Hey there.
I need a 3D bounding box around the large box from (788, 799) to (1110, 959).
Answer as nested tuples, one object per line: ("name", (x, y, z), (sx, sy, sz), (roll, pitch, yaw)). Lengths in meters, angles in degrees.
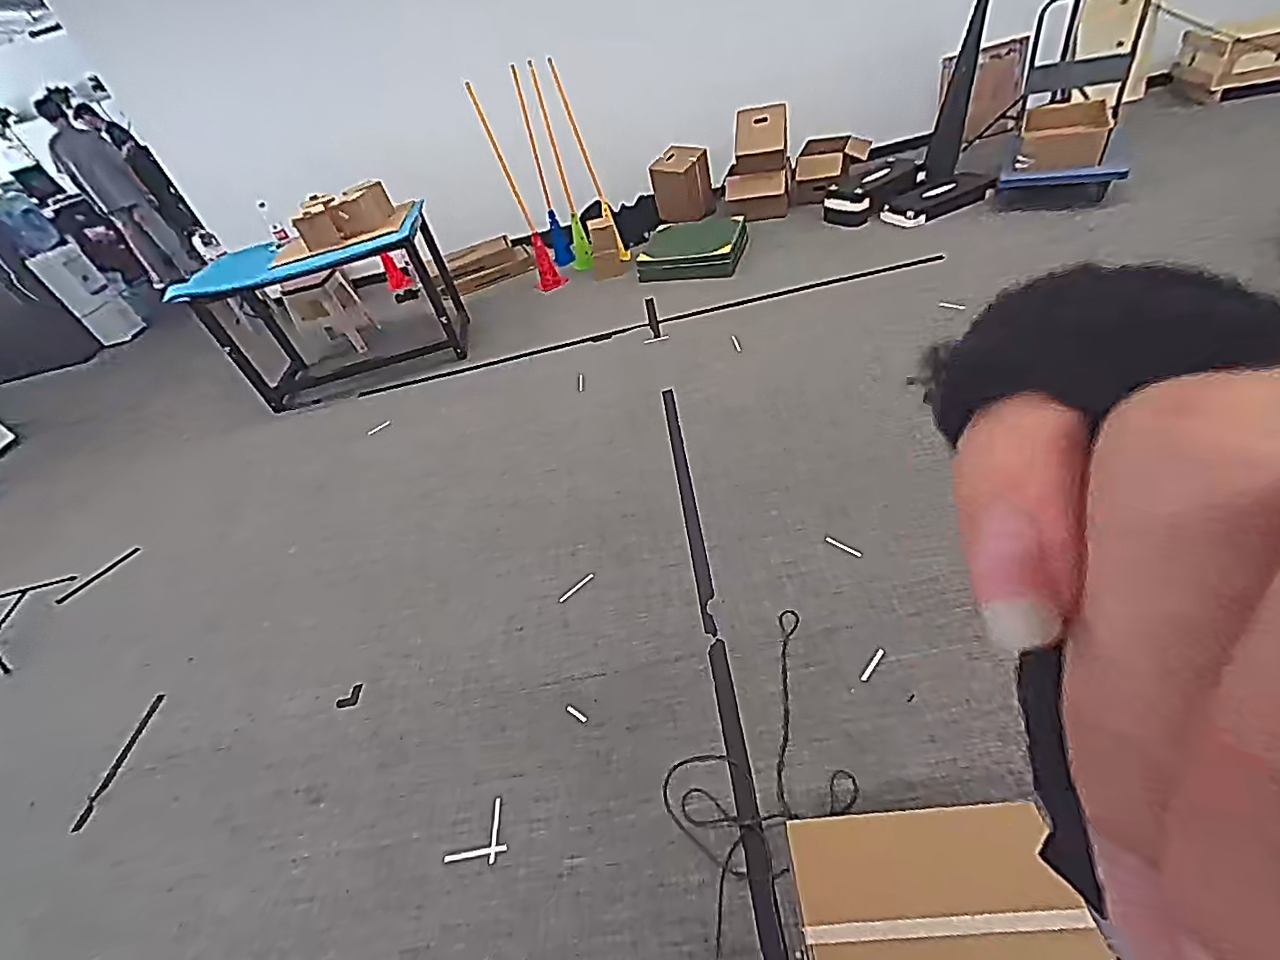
("large box", (0.484, 0.773, 0.903), (0.408, 0.320, 0.320), (-9, 42, 7))
